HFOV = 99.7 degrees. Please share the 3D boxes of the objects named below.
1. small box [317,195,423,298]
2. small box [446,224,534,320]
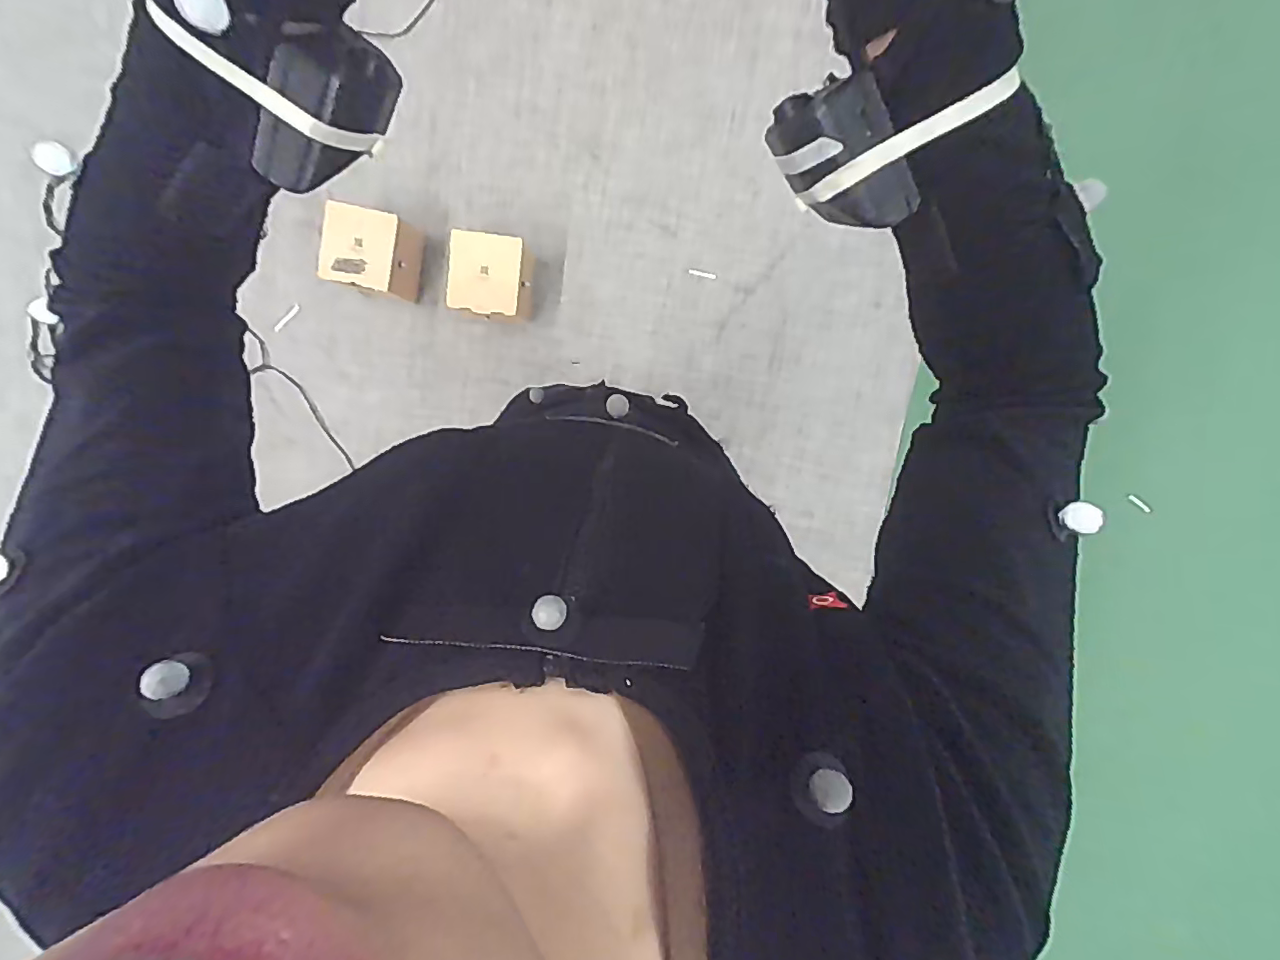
[{"bbox_3d":[-0.646,-0.554,1.311,0.168,0.176,0.179,12,98,-2],"label":"small box"},{"bbox_3d":[-0.360,-0.500,1.322,0.168,0.176,0.179,7,100,-1],"label":"small box"}]
